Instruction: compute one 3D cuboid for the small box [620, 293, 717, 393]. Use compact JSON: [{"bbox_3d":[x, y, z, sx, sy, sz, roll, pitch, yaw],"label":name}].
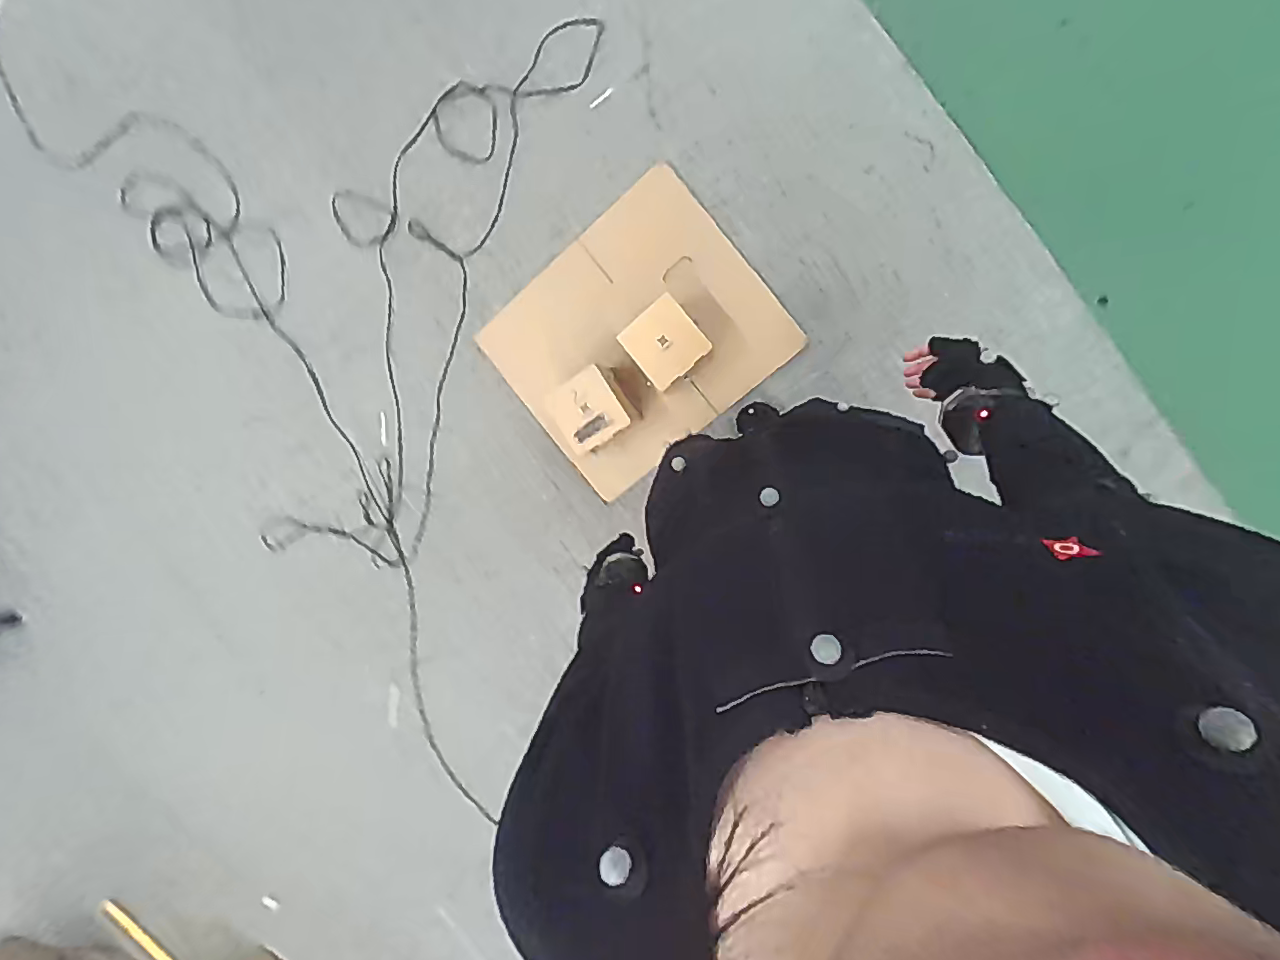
[{"bbox_3d":[0.076,-0.332,1.358,0.168,0.176,0.179,-41,90,11],"label":"small box"}]
